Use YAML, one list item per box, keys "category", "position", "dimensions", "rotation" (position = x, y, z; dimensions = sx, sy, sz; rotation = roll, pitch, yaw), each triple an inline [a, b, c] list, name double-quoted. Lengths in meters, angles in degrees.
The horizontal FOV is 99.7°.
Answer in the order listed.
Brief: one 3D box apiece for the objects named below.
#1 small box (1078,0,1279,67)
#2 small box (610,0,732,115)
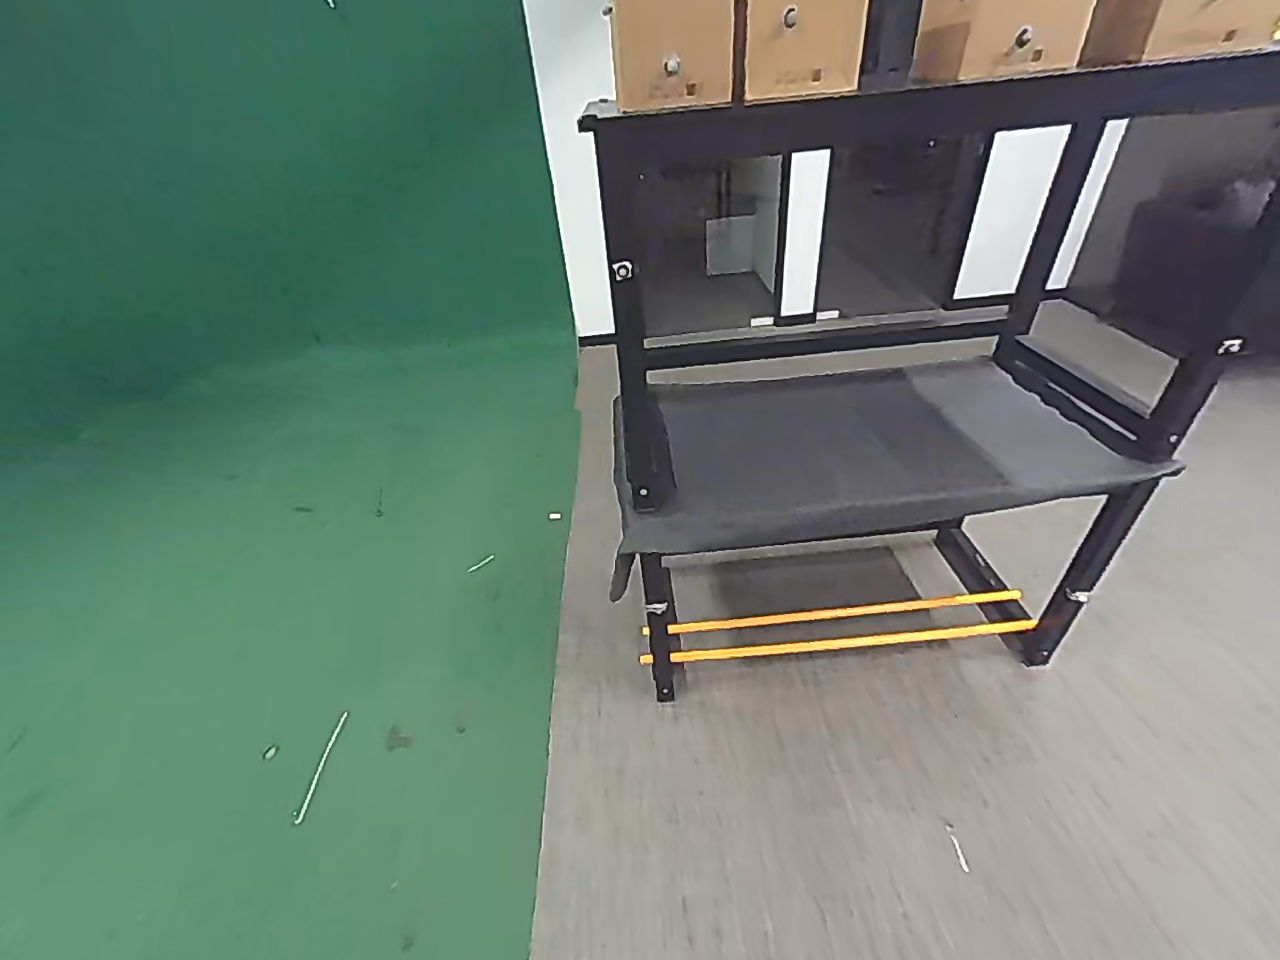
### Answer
- category: "small box"
  position: [0.802, -0.723, 0.794]
  dimensions: [0.168, 0.176, 0.179]
  rotation: [0, 36, 8]
- category: "small box"
  position: [0.041, -0.667, 0.828]
  dimensions: [0.168, 0.176, 0.179]
  rotation: [-6, 37, -1]
